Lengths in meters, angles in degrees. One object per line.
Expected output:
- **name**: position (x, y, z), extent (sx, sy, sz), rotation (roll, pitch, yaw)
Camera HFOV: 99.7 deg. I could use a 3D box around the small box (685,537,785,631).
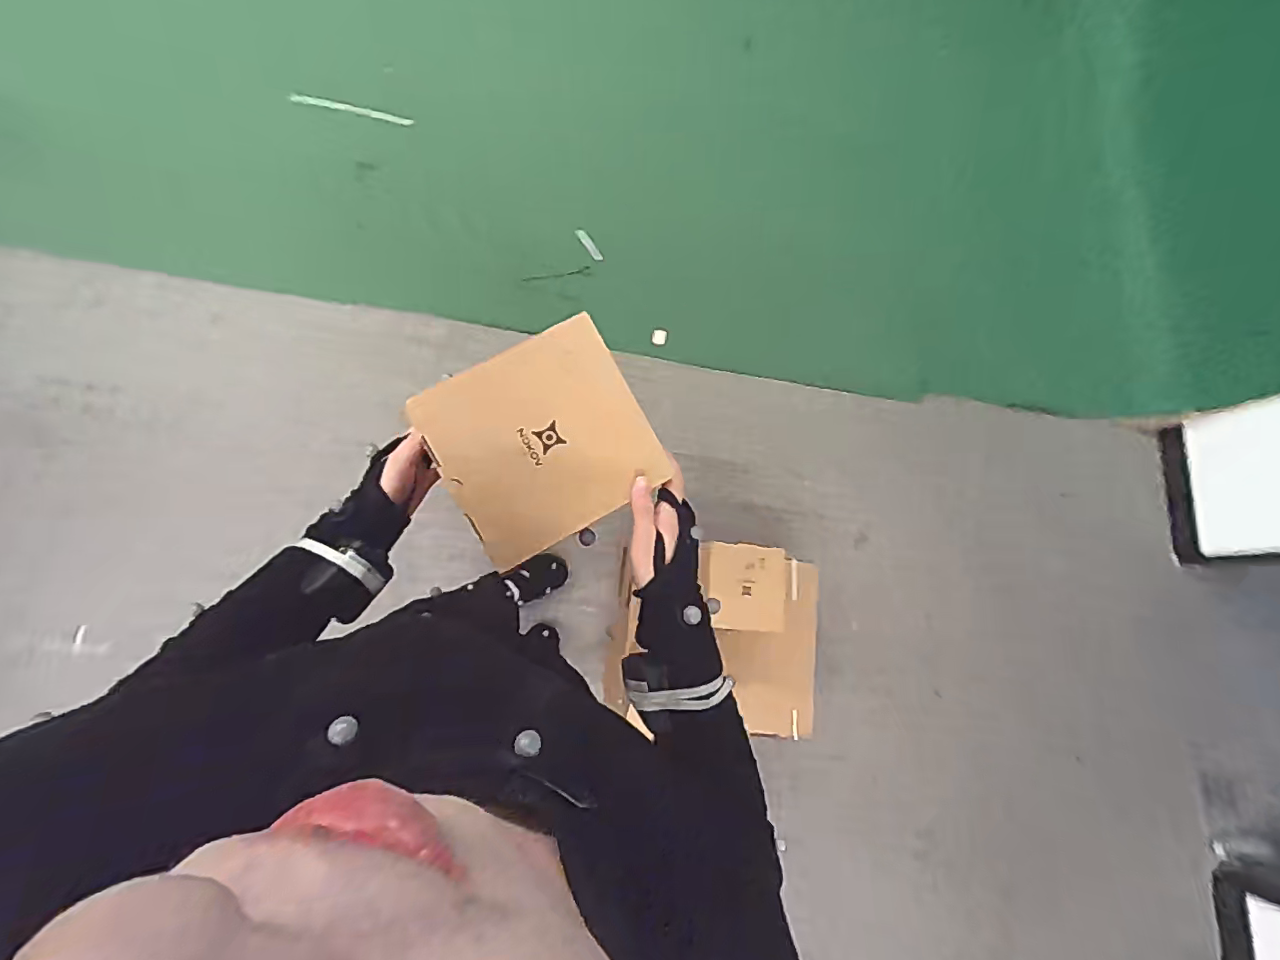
- **small box**: position (0.202, 0.227, 1.185), extent (0.168, 0.176, 0.179), rotation (8, 77, -10)
